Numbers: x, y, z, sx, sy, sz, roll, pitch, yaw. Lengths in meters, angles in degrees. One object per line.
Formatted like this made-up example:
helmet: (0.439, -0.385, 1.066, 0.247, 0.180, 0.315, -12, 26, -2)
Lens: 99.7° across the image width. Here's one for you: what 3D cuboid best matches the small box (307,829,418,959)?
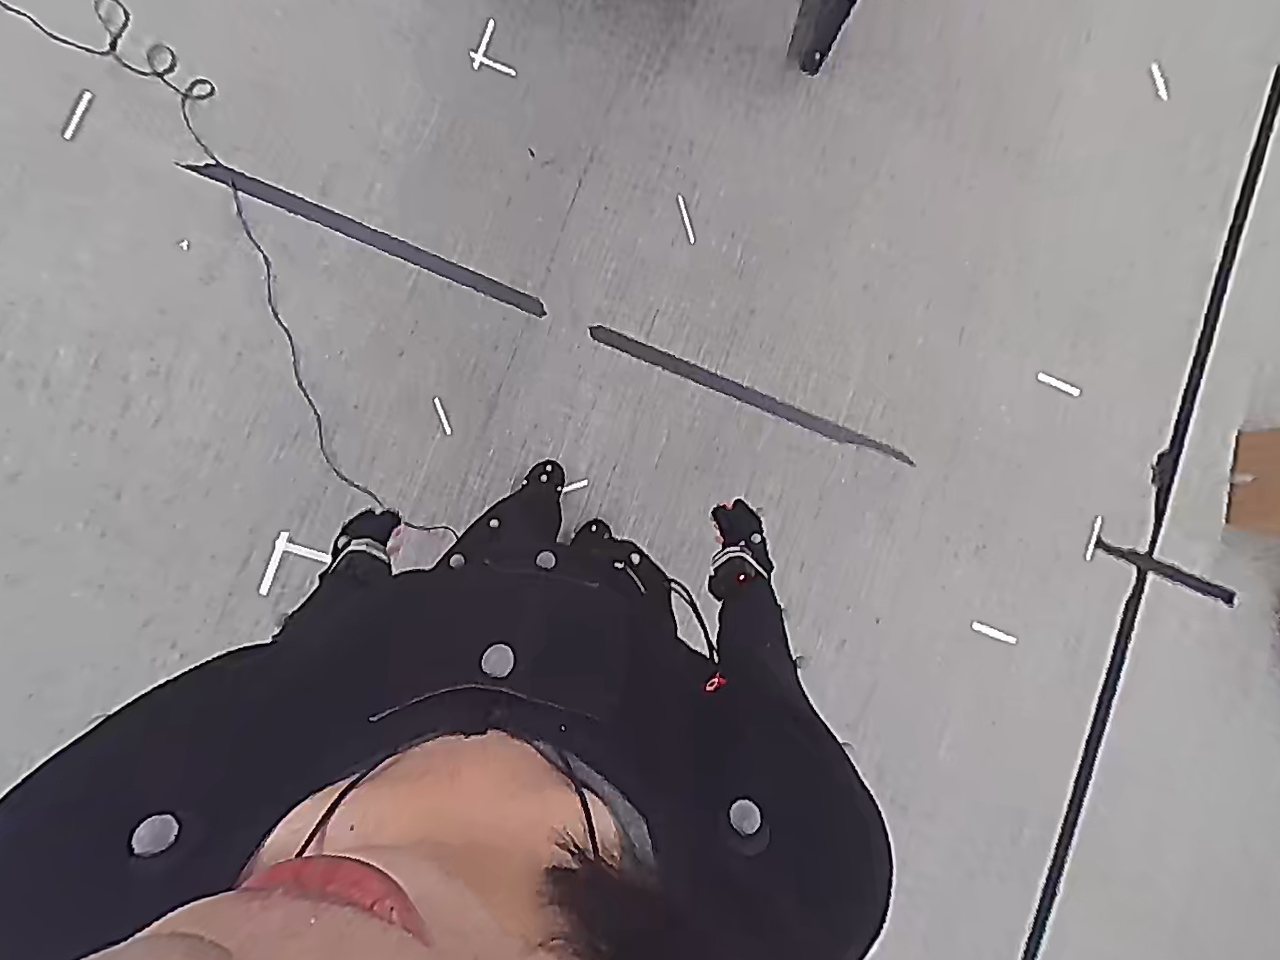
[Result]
small box: (-0.682, 1.031, 1.355, 0.168, 0.176, 0.179, 23, 85, -5)
